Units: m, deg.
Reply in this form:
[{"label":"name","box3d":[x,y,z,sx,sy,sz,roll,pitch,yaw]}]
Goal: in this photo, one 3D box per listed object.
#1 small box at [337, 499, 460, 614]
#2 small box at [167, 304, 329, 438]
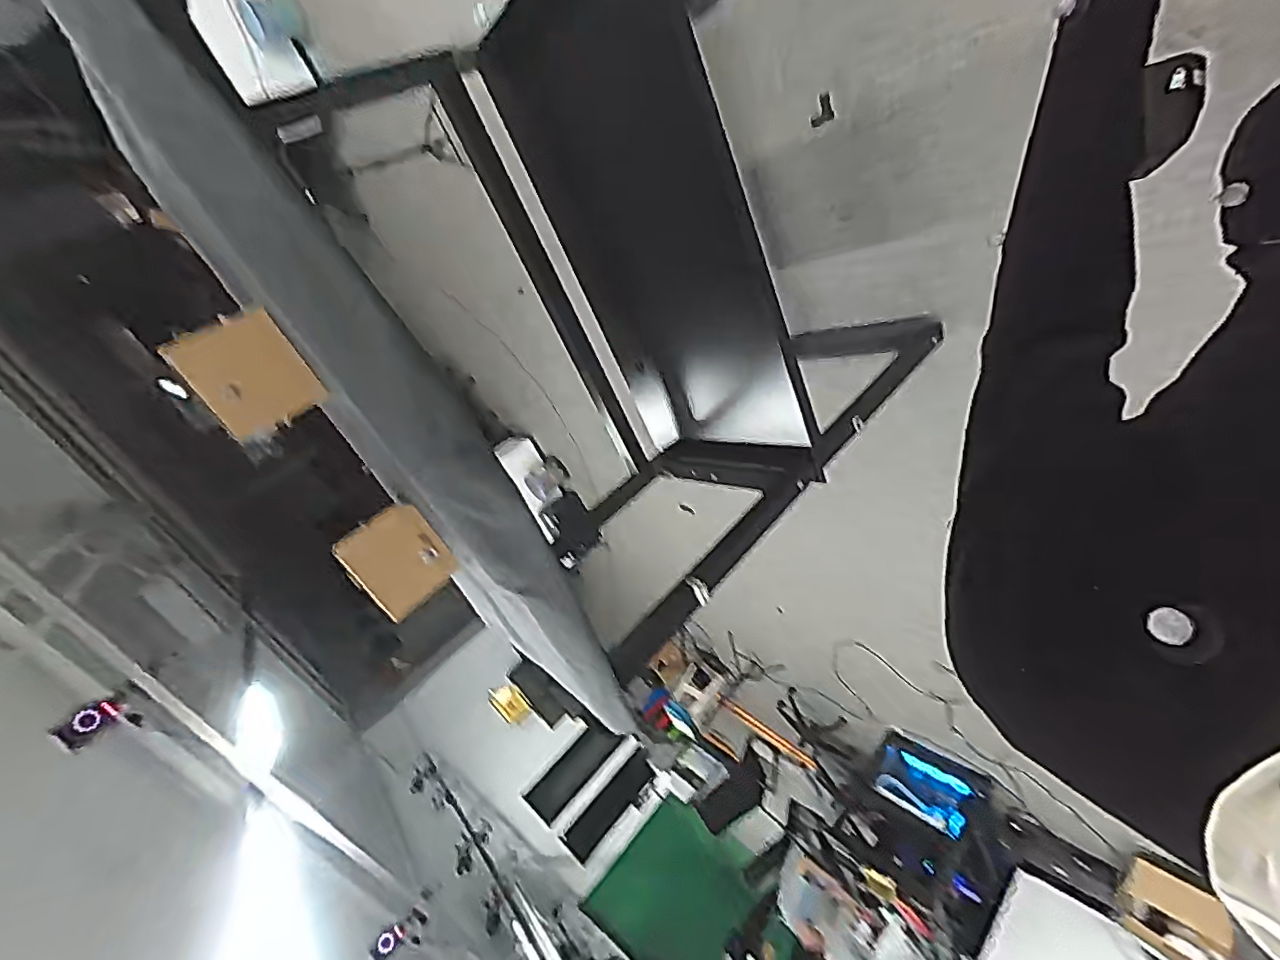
[{"label":"small box","box3d":[-0.513,0.154,1.156,0.179,0.176,0.168,1,128,57]},{"label":"small box","box3d":[-0.707,-0.197,0.993,0.168,0.176,0.179,9,133,52]}]
